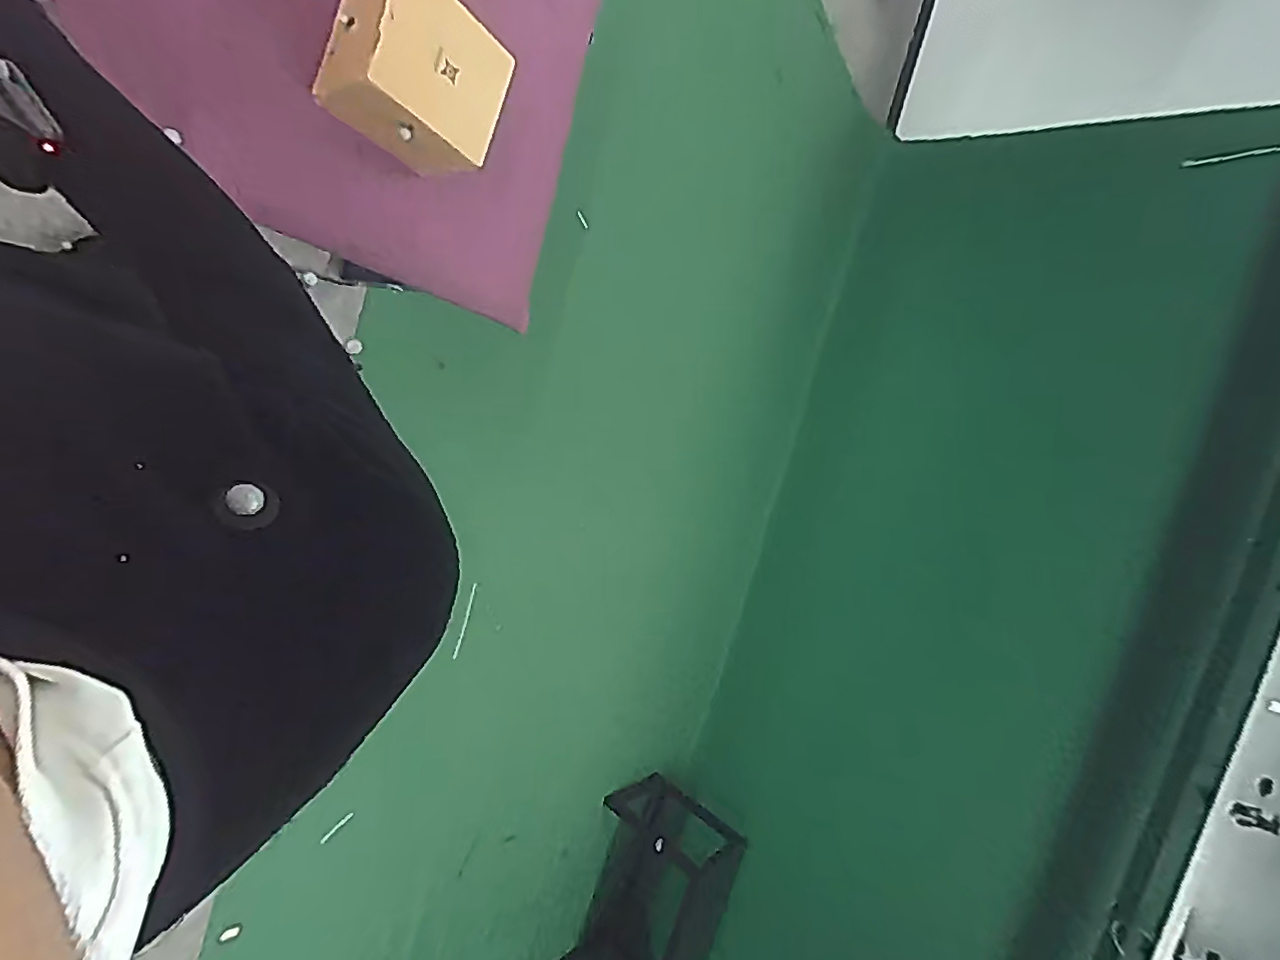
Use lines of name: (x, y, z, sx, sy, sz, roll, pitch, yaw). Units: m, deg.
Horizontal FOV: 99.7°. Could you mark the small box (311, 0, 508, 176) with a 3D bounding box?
small box: (-0.328, -0.565, 0.775, 0.179, 0.176, 0.168, 17, 91, -53)
